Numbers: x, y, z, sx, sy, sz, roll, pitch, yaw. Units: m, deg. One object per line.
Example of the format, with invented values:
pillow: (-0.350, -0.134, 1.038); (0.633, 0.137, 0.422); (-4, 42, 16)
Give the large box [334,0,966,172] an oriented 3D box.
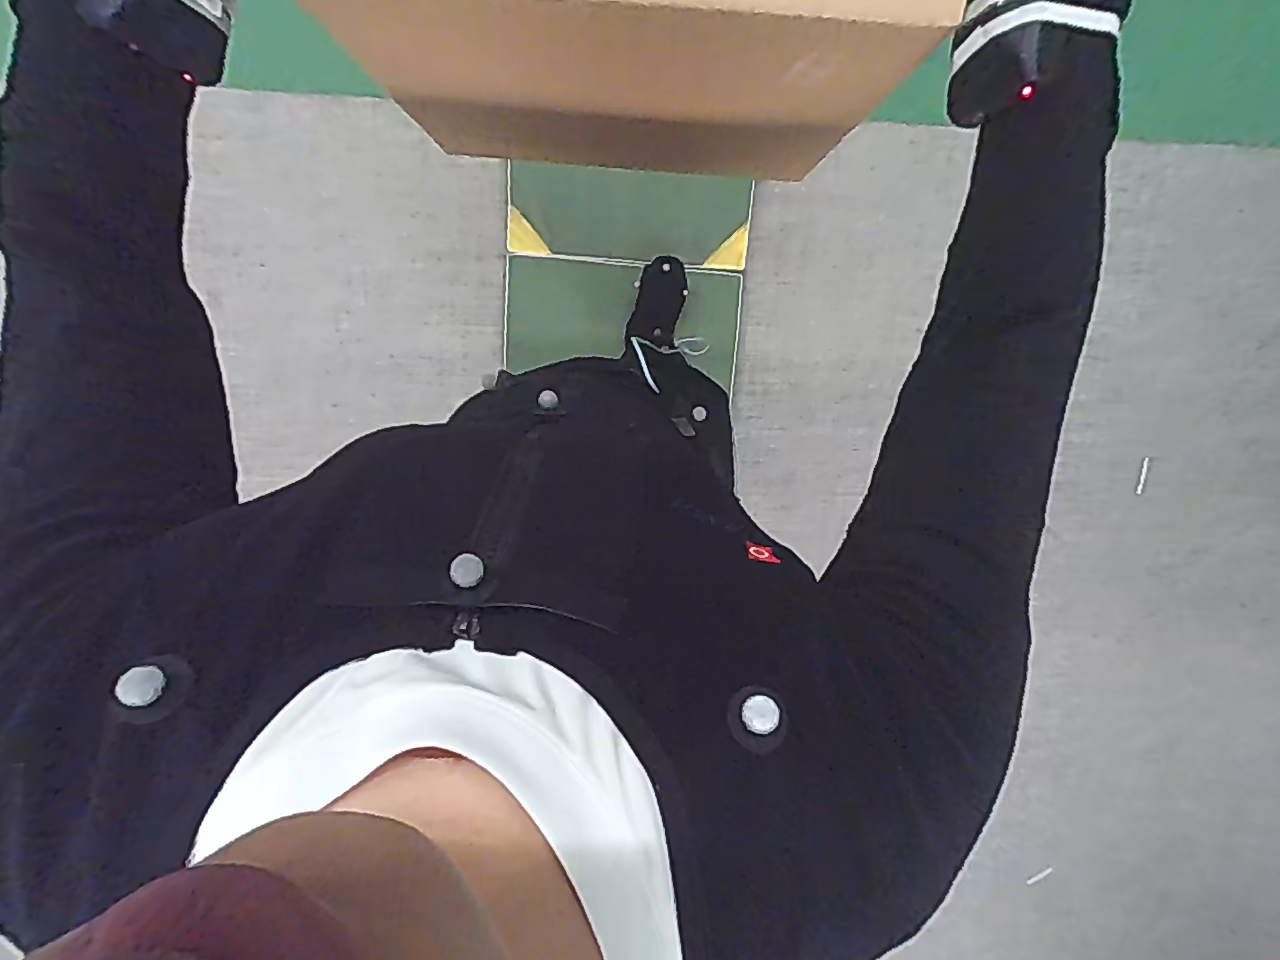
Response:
large box: (0.002, -0.469, 0.433); (0.408, 0.320, 0.320); (3, 105, -2)
